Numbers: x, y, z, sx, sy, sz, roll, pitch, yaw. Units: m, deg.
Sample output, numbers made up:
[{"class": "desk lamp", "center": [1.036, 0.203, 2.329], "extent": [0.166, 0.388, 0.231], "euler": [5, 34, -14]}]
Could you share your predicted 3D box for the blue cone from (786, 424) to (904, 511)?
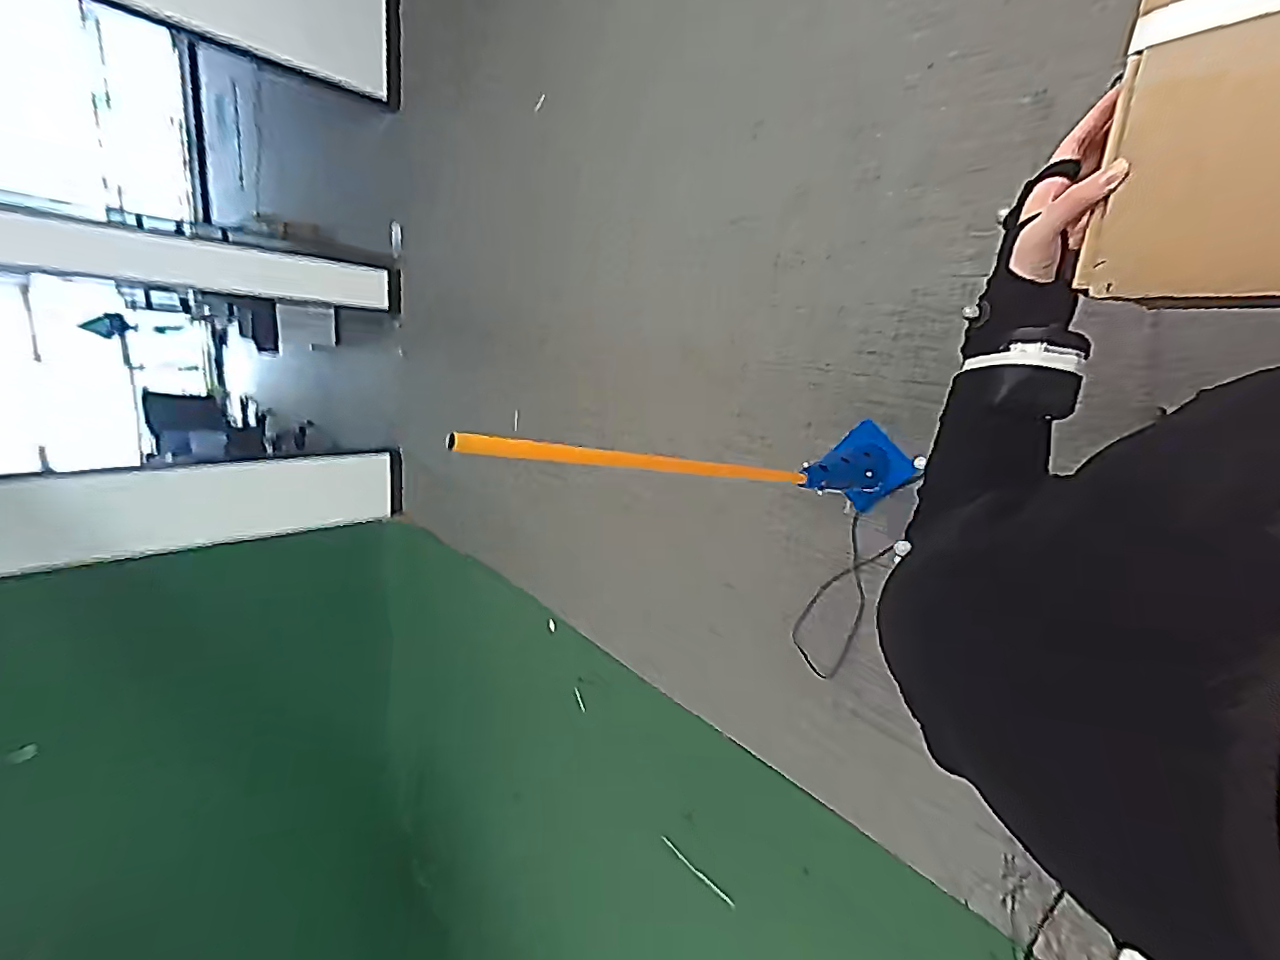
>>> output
[{"class": "blue cone", "center": [0.493, -0.014, 1.378], "extent": [0.192, 0.380, 0.193], "euler": [55, 130, 25]}]
